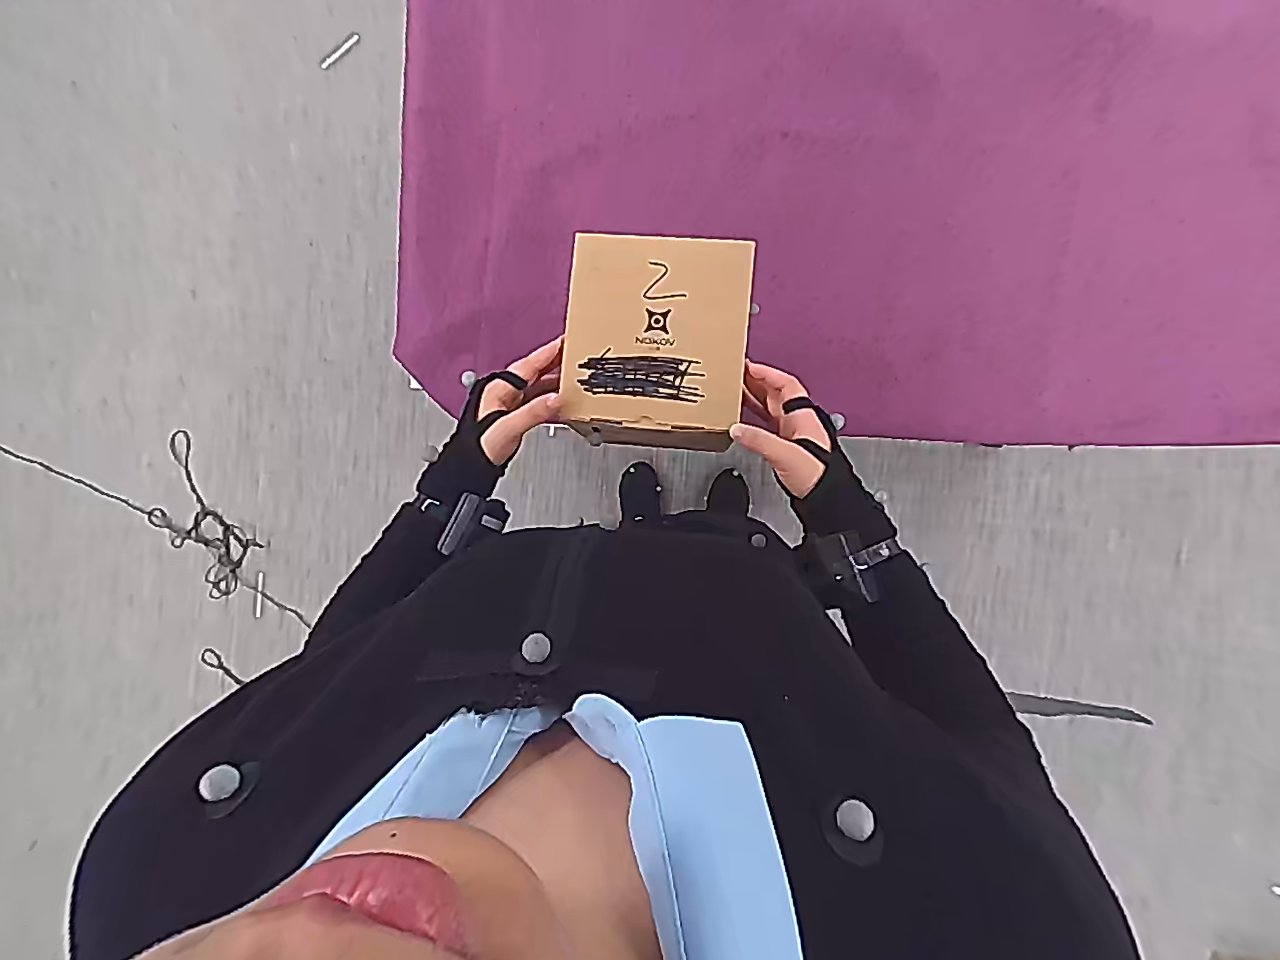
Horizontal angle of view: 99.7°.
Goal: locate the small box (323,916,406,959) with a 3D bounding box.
[{"bbox_3d":[-0.814,1.425,1.570,0.179,0.176,0.168,15,93,6],"label":"small box"}]
